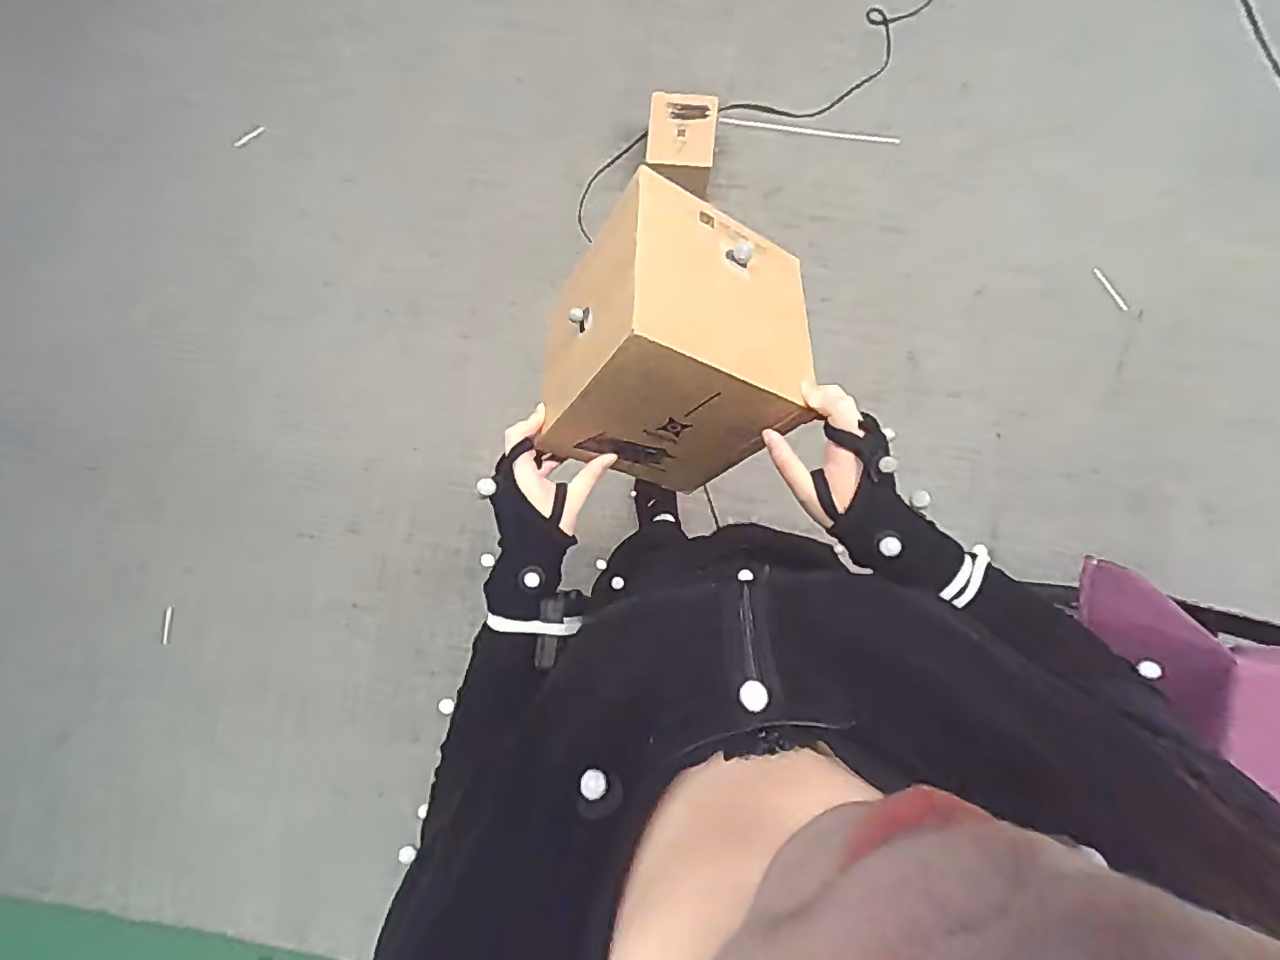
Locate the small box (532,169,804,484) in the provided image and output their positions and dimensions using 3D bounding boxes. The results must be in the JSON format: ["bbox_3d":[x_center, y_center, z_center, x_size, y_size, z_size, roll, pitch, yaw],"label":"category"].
[{"bbox_3d":[0.021,-0.122,0.482,0.168,0.179,0.176,17,59,-26],"label":"small box"}]
